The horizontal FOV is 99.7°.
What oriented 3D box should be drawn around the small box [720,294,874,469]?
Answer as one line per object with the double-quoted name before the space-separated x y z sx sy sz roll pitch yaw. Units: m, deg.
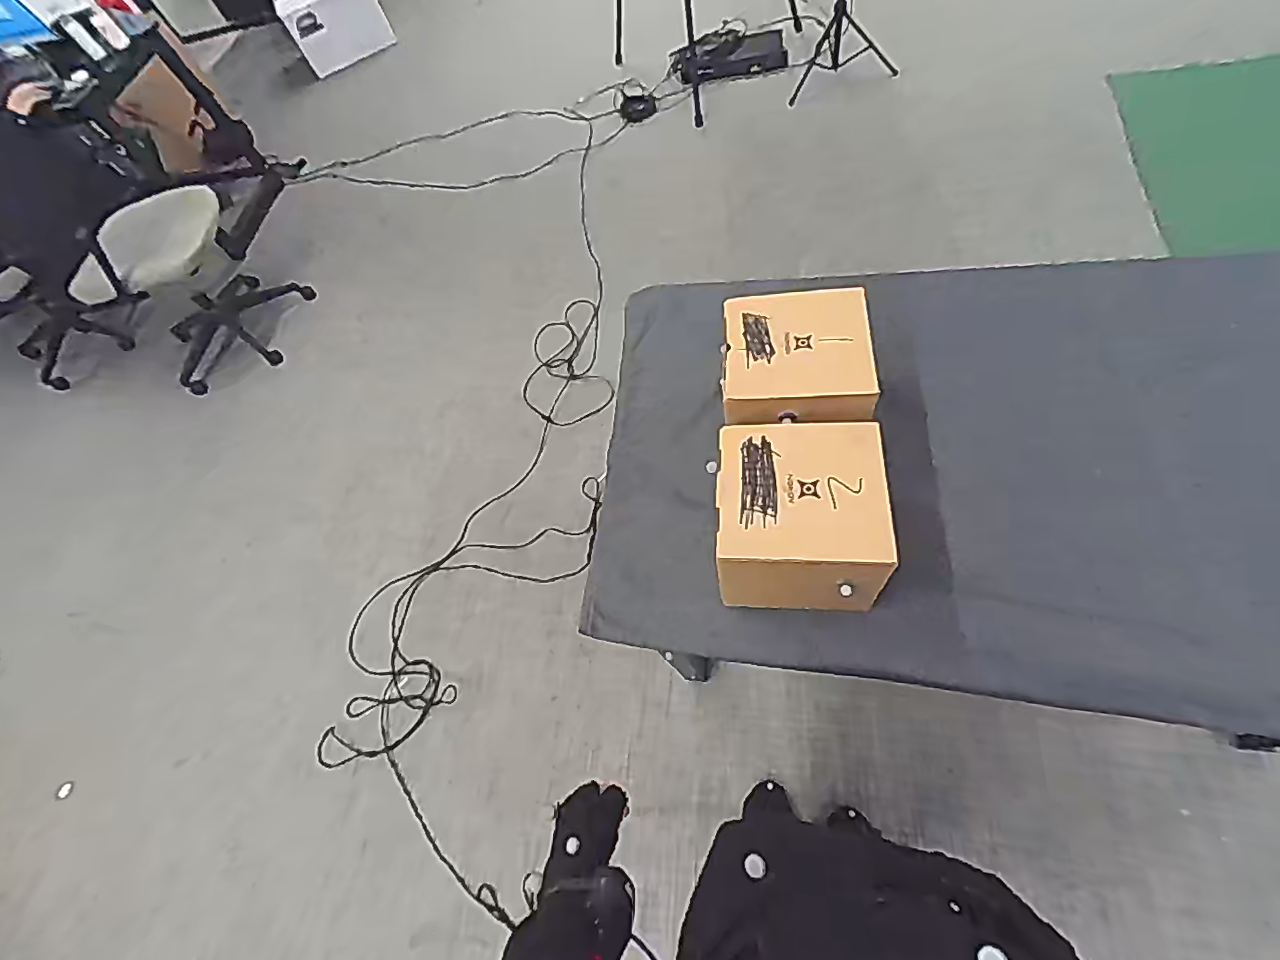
"small box" 0.203 -0.123 0.732 0.179 0.176 0.168 -1 63 12
